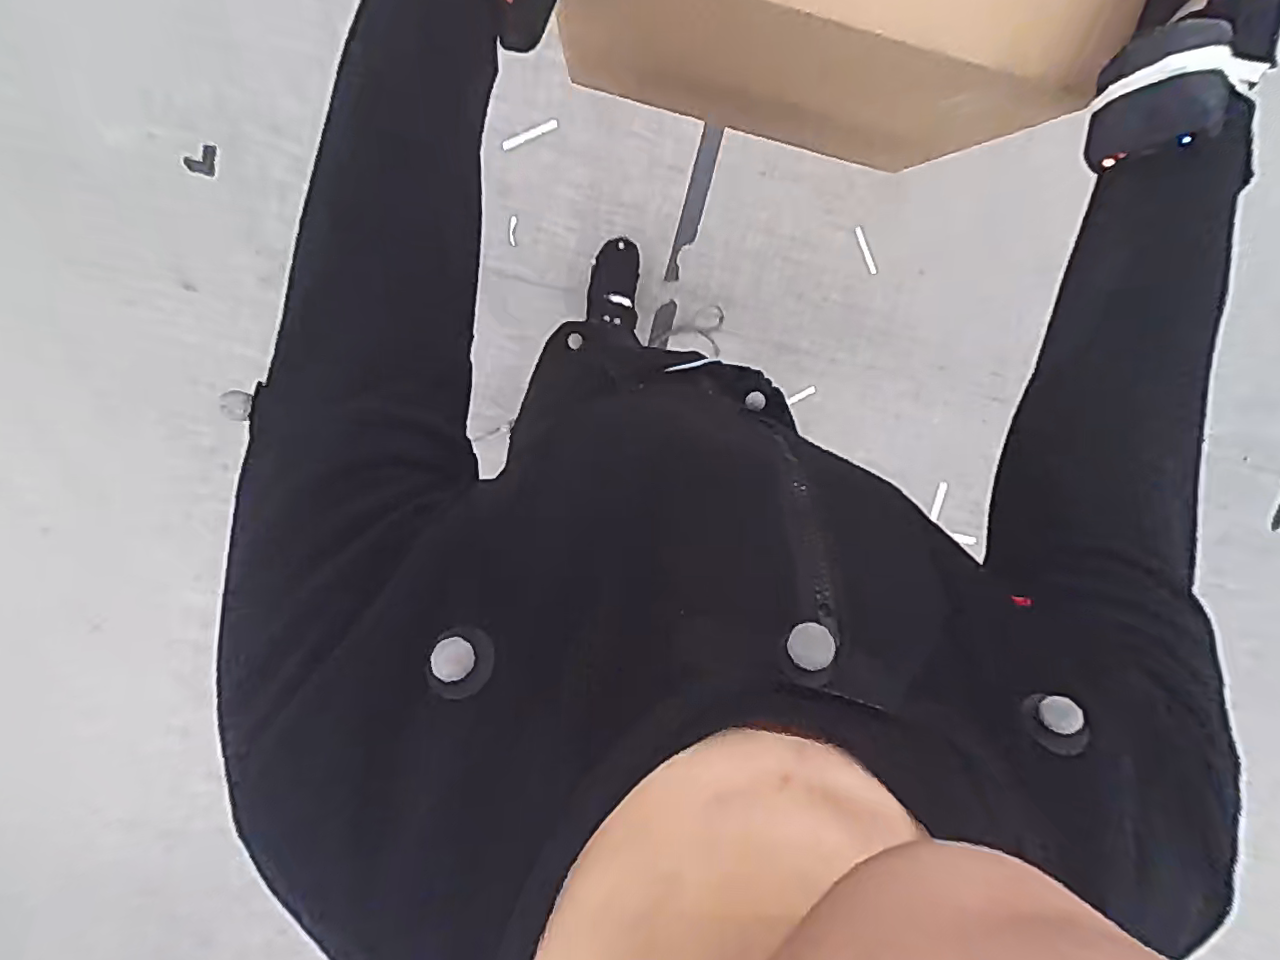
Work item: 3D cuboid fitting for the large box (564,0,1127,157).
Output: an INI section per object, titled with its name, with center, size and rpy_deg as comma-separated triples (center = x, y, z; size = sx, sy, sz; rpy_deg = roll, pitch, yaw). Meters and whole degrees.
[large box]
center = 0.155, -0.513, 0.451
size = 0.408, 0.320, 0.320
rpy_deg = 11, 111, -8
